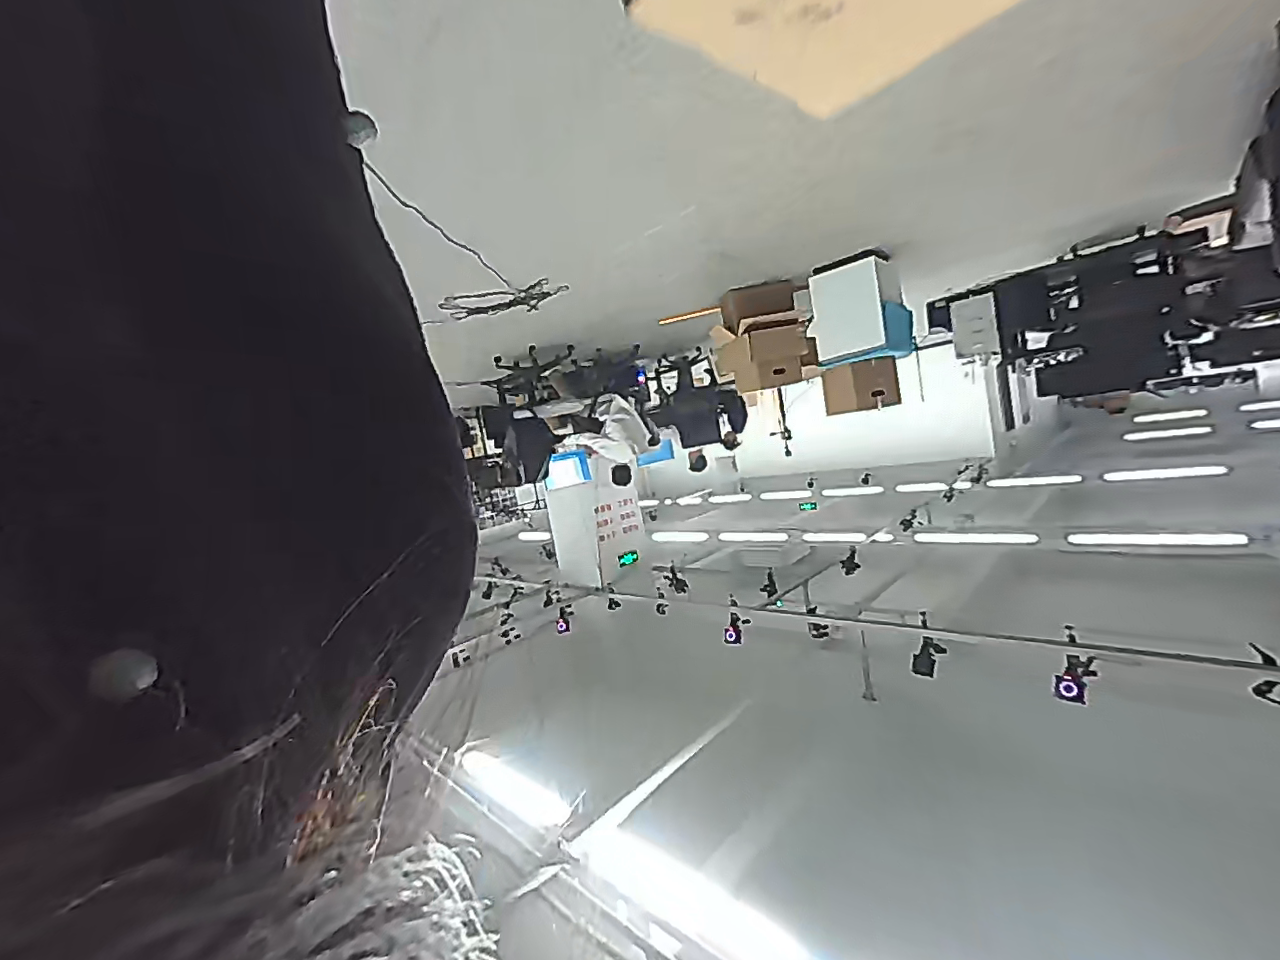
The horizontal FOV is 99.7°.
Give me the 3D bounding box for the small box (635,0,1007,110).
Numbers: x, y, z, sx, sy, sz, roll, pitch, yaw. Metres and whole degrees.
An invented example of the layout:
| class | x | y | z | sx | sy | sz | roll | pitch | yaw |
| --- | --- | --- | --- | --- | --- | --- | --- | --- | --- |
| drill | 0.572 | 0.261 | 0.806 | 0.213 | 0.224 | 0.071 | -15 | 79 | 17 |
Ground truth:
| class | x | y | z | sx | sy | sz | roll | pitch | yaw |
| --- | --- | --- | --- | --- | --- | --- | --- | --- | --- |
| small box | 0.095 | -0.294 | 0.202 | 0.168 | 0.176 | 0.179 | -13 | -175 | -42 |
